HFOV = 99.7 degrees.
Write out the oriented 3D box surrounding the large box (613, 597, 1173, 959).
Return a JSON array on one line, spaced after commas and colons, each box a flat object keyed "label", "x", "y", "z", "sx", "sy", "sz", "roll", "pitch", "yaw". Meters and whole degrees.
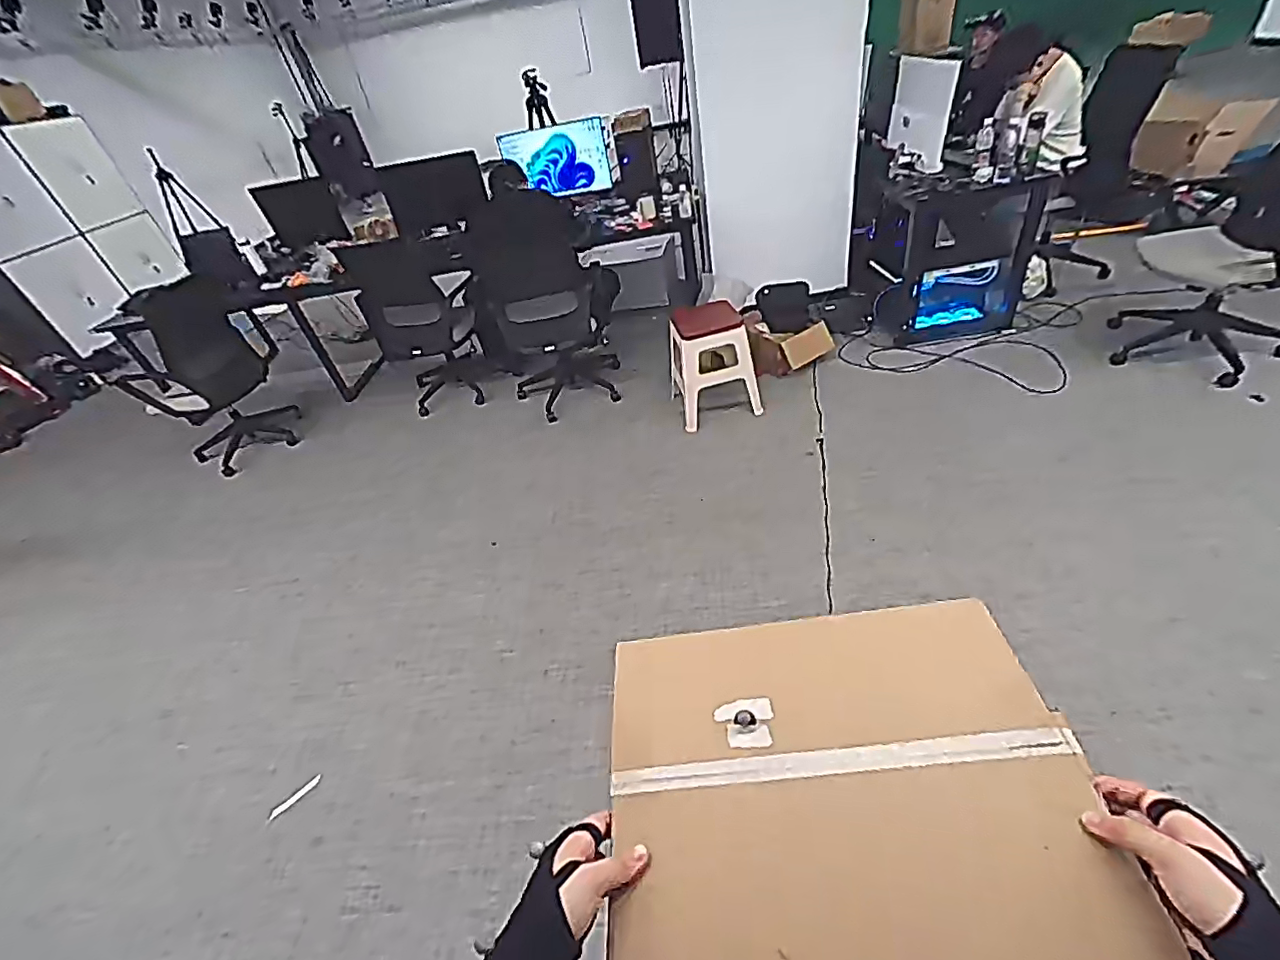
[{"label": "large box", "x": 0.206, "y": 0.373, "z": 0.598, "sx": 0.408, "sy": 0.320, "sz": 0.320, "roll": -11, "pitch": 38, "yaw": 9}]
